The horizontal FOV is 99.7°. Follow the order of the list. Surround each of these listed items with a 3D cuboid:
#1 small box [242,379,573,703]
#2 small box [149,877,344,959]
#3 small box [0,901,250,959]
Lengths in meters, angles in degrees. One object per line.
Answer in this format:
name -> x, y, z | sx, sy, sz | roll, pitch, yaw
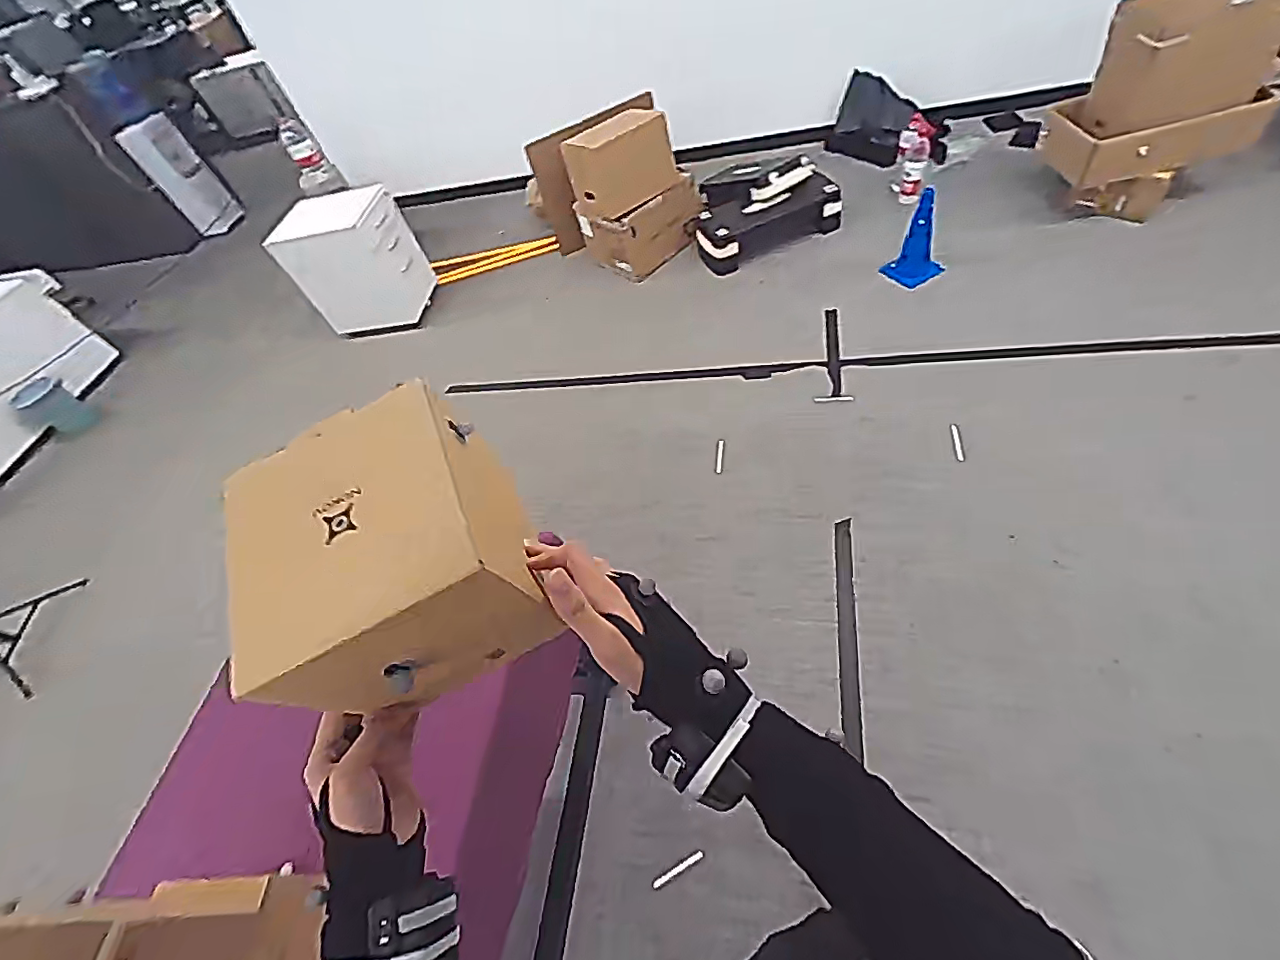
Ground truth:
small box -> -0.172, 0.061, 0.431 | 0.168, 0.176, 0.179 | -27, 59, -2
small box -> -0.516, 0.617, 0.687 | 0.168, 0.176, 0.179 | -9, 52, 9
small box -> -0.561, 0.539, 0.548 | 0.179, 0.176, 0.168 | -5, 54, 12
